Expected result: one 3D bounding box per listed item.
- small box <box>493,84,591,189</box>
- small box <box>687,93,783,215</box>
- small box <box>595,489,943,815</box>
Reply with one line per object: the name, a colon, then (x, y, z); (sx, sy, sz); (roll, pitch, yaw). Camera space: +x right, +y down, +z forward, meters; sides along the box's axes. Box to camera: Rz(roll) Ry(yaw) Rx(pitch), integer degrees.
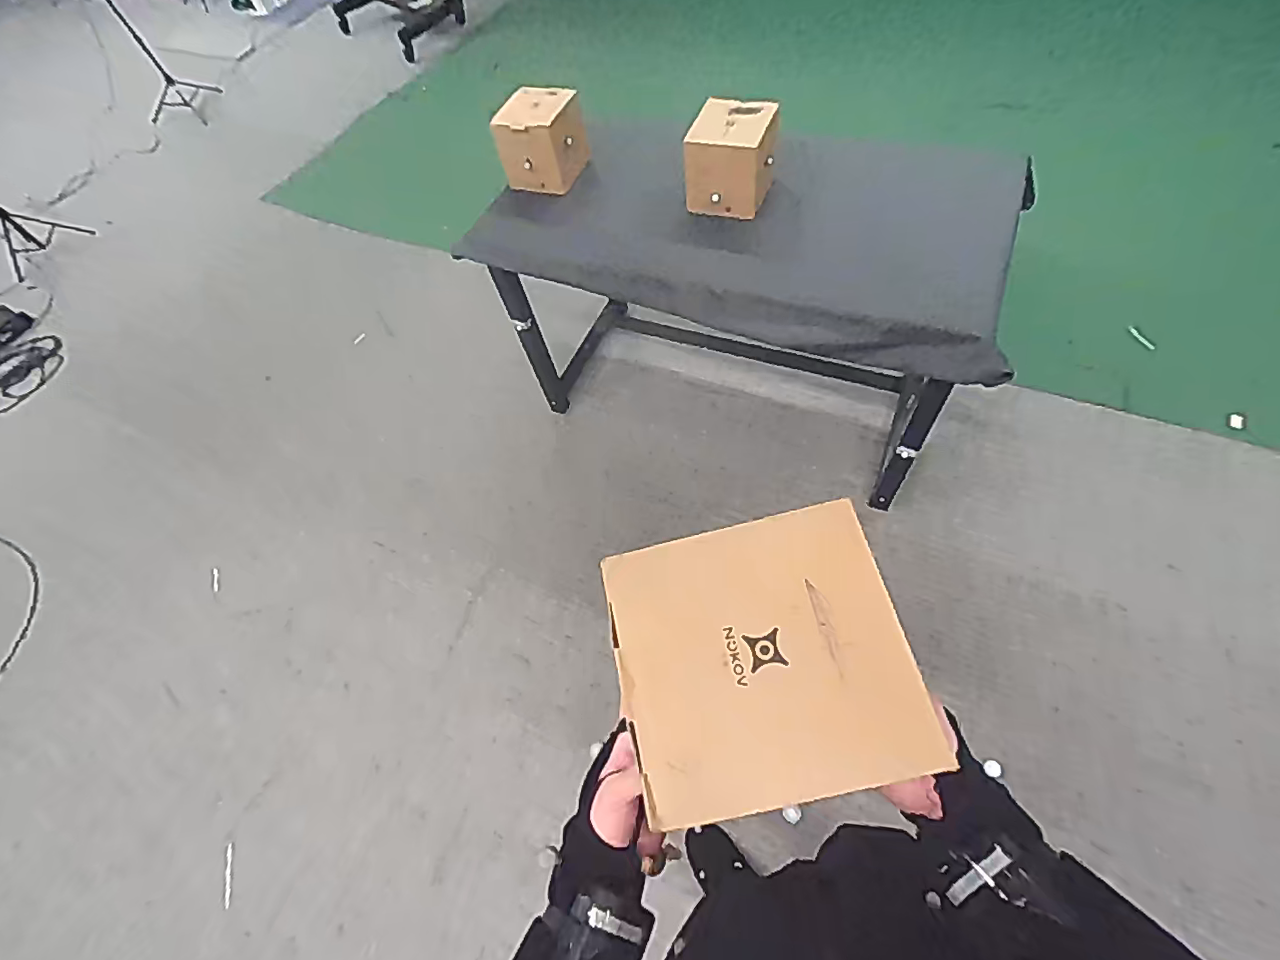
small box: (-0.241, -0.878, 1.387); (0.168, 0.176, 0.179); (15, 64, 17)
small box: (0.215, -0.742, 1.233); (0.168, 0.176, 0.179); (17, 65, 18)
small box: (0.080, 0.129, 0.405); (0.179, 0.176, 0.168); (-15, 67, 2)
